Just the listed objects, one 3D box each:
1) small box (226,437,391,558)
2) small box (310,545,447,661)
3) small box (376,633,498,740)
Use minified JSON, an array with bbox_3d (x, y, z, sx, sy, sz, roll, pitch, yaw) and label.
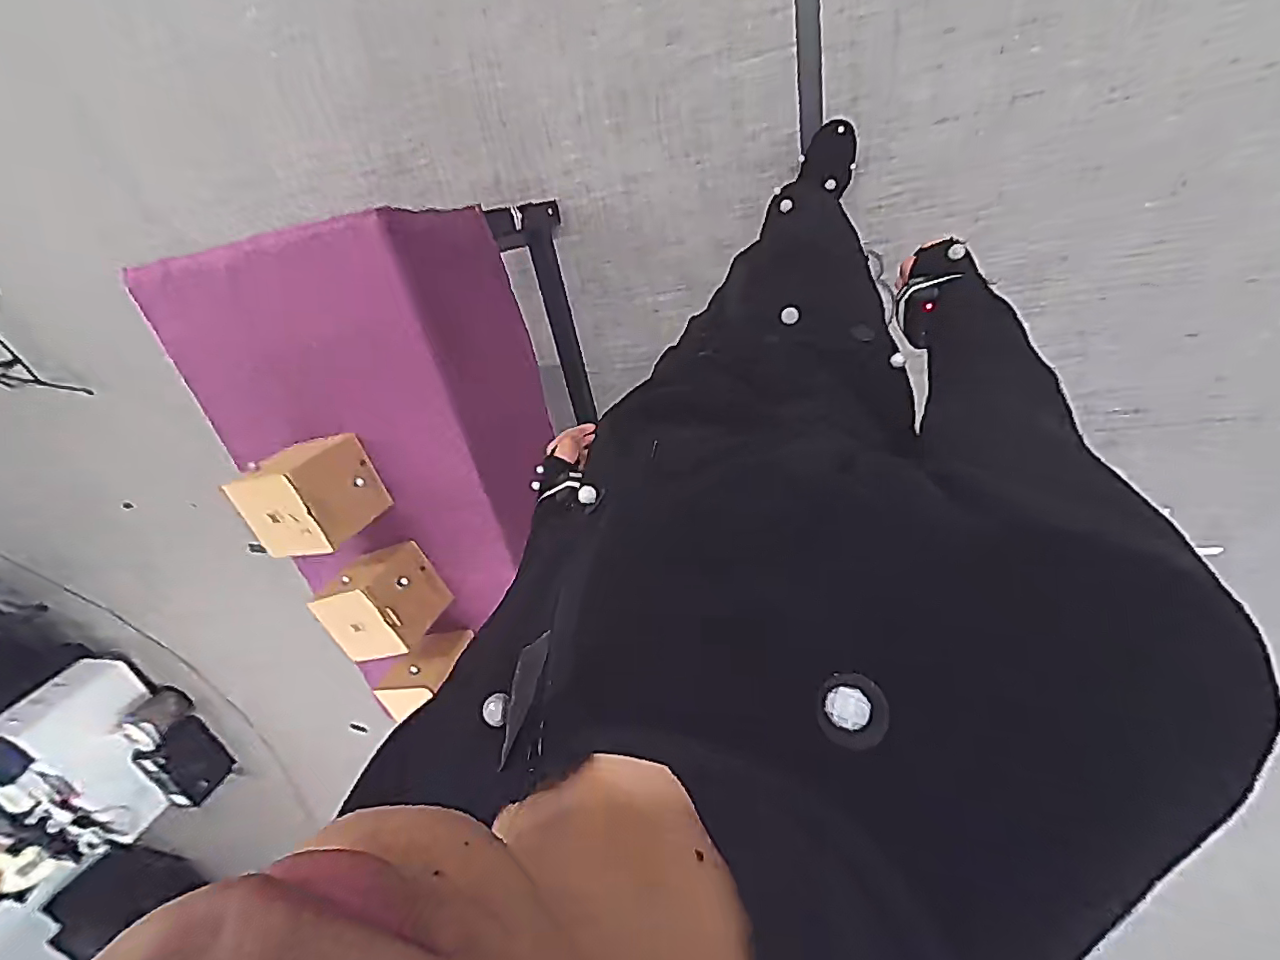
[{"bbox_3d":[-0.630,0.031,1.048,0.179,0.176,0.168,-8,117,21],"label":"small box"},{"bbox_3d":[-0.542,0.258,1.155,0.179,0.176,0.168,-16,113,25],"label":"small box"},{"bbox_3d":[-0.455,0.473,1.250,0.179,0.176,0.168,-14,113,25],"label":"small box"}]
